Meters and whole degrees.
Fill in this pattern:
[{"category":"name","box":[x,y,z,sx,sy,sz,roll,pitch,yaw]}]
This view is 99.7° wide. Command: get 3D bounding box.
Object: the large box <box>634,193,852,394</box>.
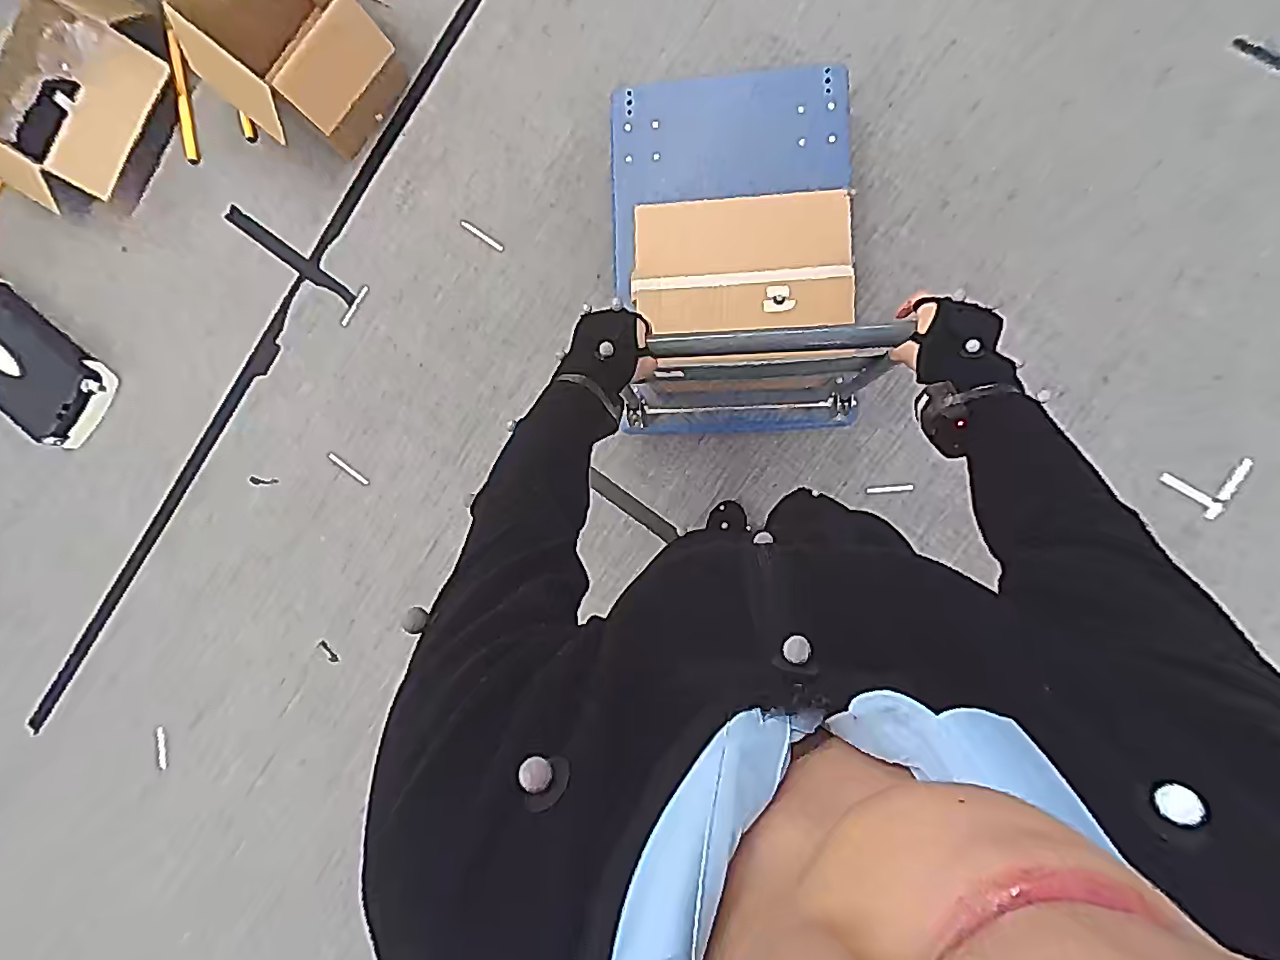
[{"category":"large box","box":[0.203,-0.374,1.170,0.408,0.320,0.320,-1,90,6]}]
